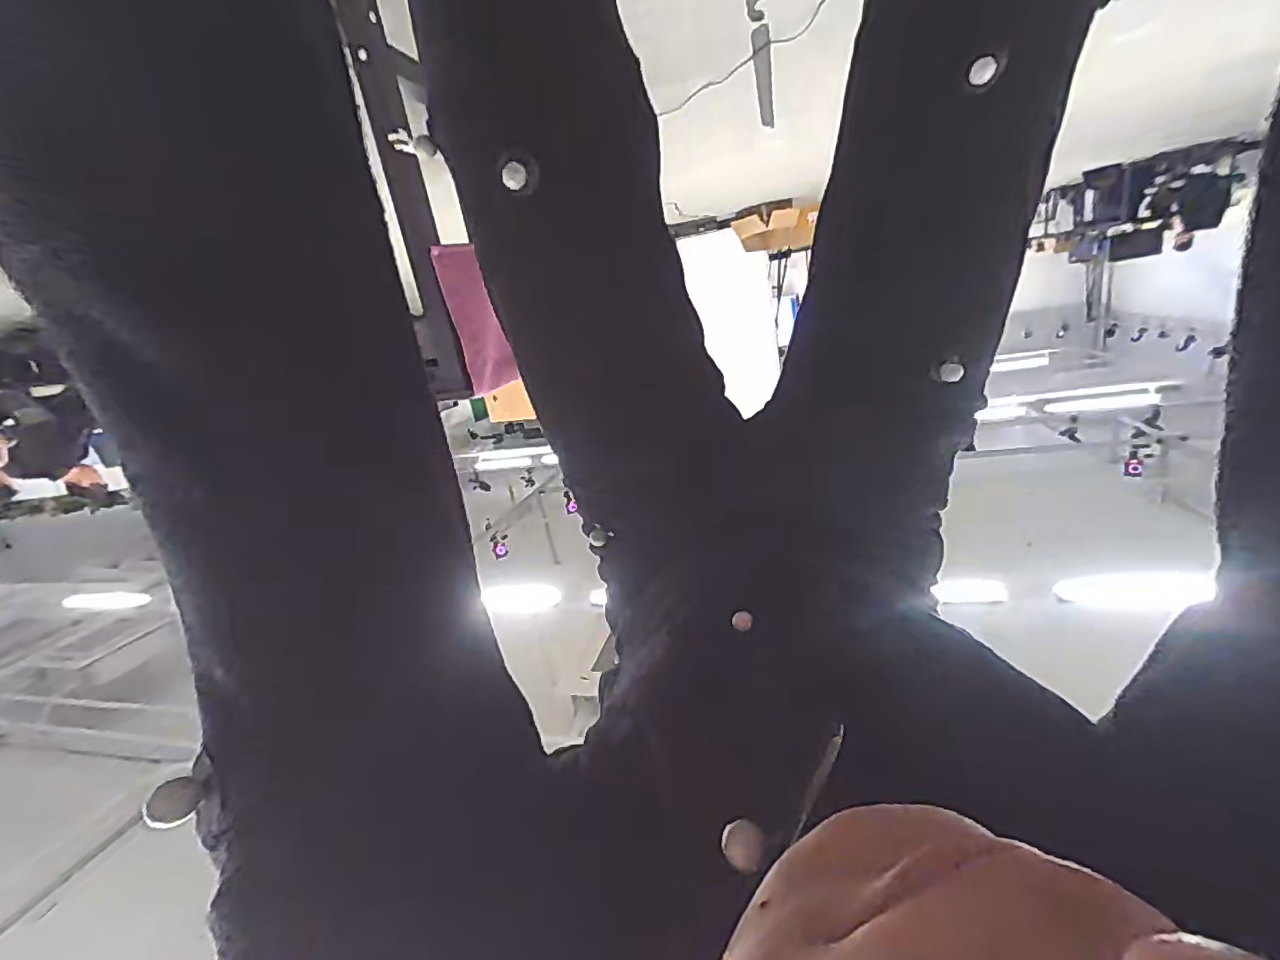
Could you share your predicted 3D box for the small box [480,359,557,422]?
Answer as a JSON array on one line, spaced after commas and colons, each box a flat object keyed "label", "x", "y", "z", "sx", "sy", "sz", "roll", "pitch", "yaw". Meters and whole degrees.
[{"label": "small box", "x": -0.400, "y": -0.295, "z": 1.767, "sx": 0.179, "sy": 0.176, "sz": 0.168, "roll": -2, "pitch": -159, "yaw": 26}]
